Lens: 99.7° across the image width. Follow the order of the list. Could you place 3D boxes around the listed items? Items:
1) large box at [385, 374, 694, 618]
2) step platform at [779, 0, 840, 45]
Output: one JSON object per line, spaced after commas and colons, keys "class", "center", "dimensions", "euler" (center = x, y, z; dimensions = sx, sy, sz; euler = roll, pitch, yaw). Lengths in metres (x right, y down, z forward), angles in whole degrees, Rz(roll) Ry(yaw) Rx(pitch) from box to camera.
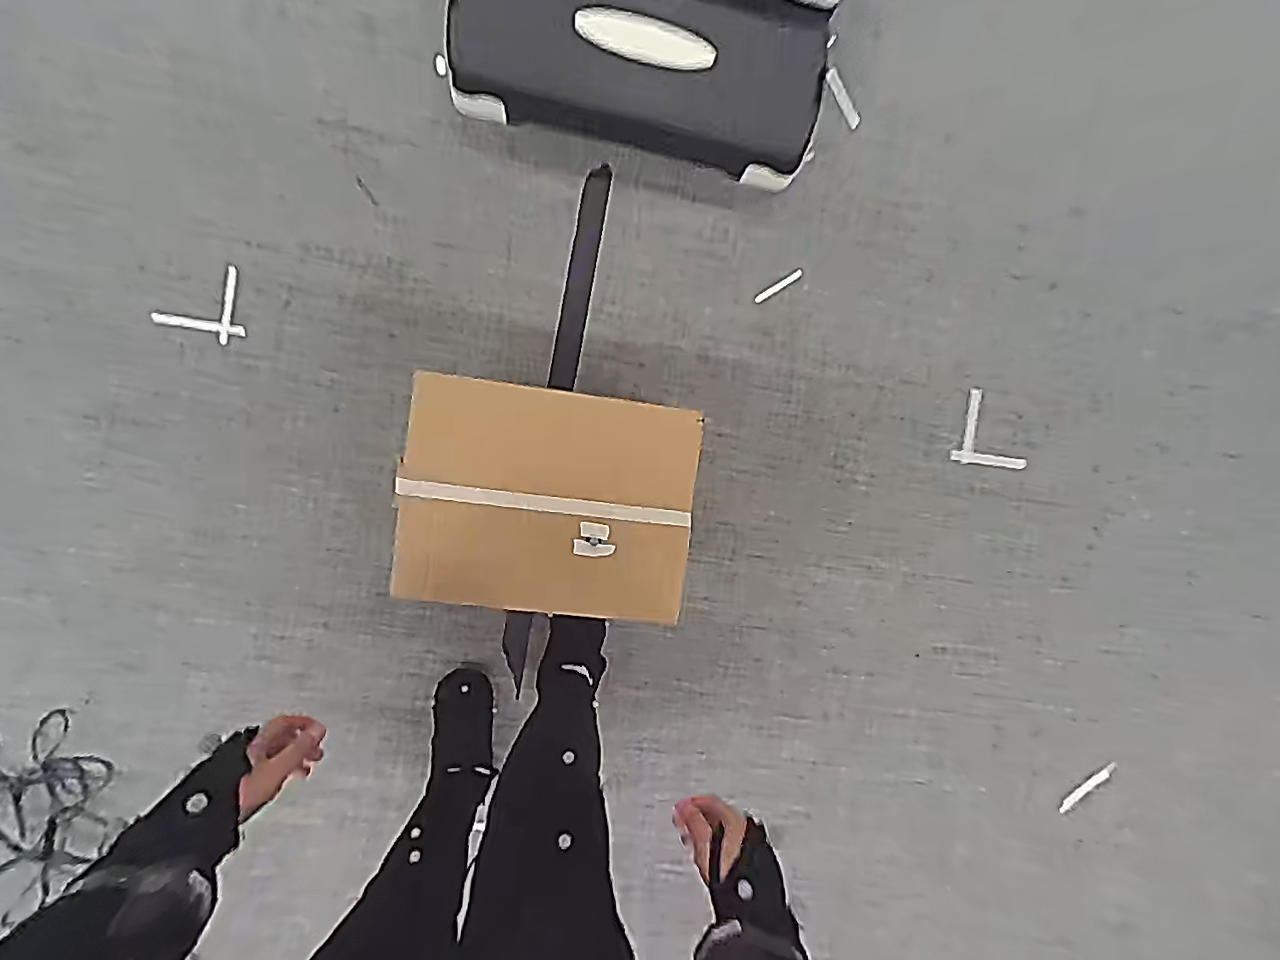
{"class": "large box", "center": [-0.155, 0.022, 0.896], "dimensions": [0.408, 0.320, 0.320], "euler": [7, 93, -8]}
{"class": "step platform", "center": [0.069, -1.041, 0.912], "dimensions": [0.684, 0.204, 0.286], "euler": [15, 92, -8]}
